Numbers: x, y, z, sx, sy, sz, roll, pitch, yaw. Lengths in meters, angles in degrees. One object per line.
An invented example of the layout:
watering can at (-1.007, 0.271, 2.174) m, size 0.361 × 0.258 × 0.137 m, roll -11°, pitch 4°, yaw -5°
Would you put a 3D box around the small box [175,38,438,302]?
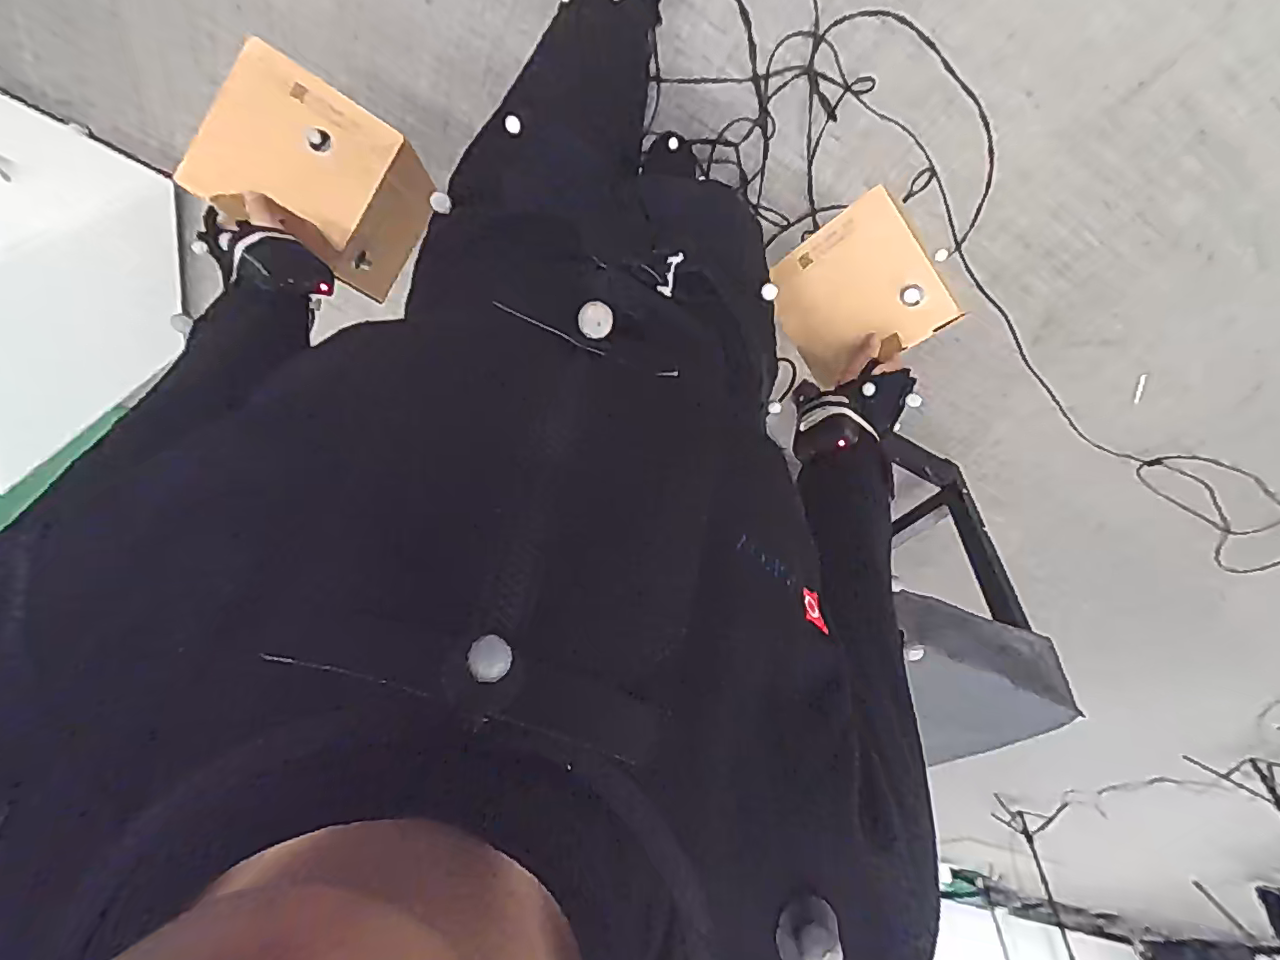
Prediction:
small box at (-0.360, -0.338, 0.626) m, size 0.168 × 0.179 × 0.176 m, roll 31°, pitch 92°, yaw -11°
